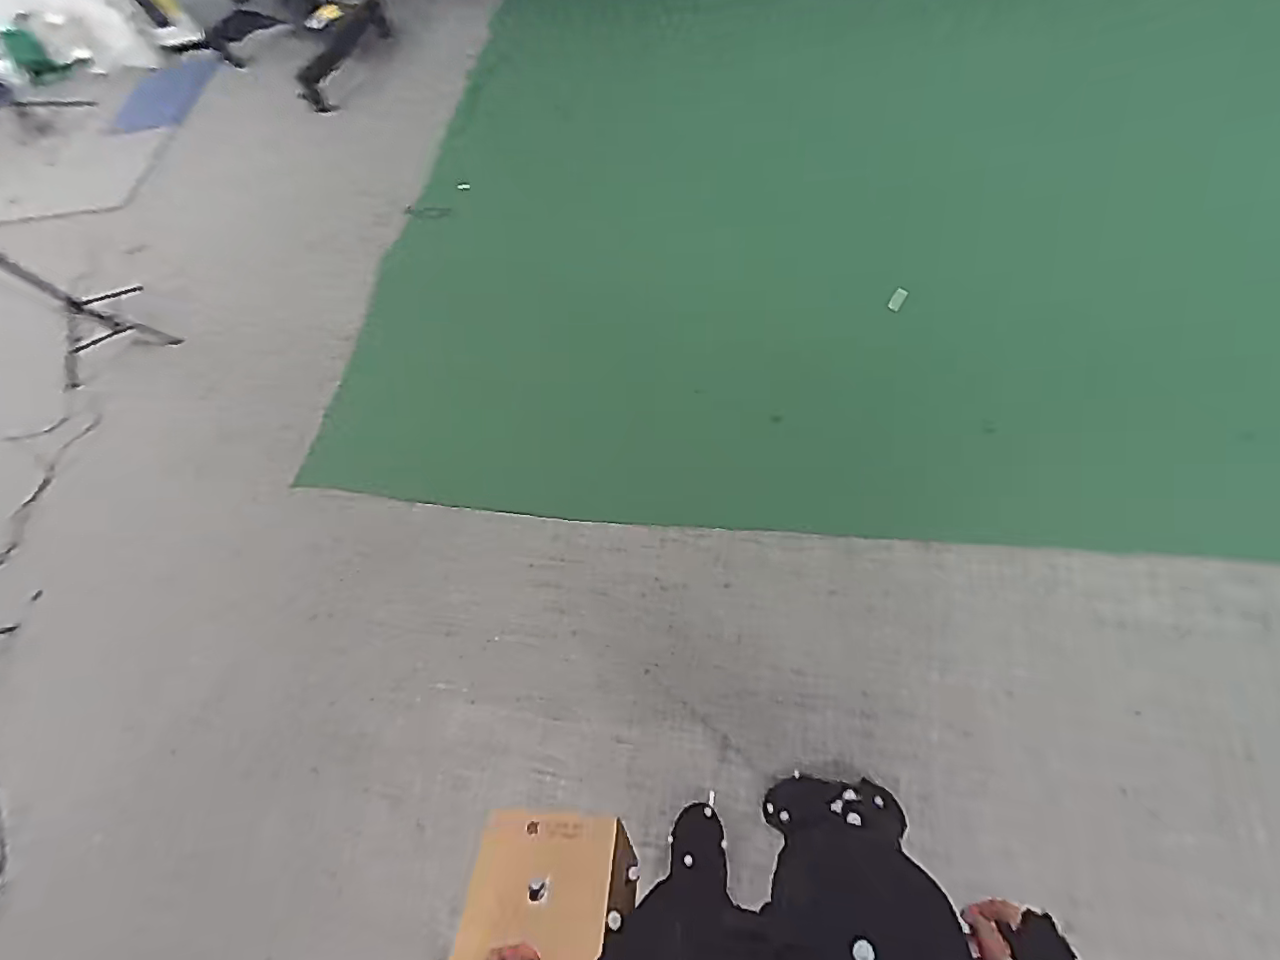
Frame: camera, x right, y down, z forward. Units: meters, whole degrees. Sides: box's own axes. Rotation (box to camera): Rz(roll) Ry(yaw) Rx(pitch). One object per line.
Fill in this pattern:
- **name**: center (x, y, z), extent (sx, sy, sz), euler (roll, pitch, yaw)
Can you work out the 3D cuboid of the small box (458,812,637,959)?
- **small box**: center (-0.101, 0.528, 0.658), extent (0.168, 0.179, 0.176), euler (0, 40, 10)
